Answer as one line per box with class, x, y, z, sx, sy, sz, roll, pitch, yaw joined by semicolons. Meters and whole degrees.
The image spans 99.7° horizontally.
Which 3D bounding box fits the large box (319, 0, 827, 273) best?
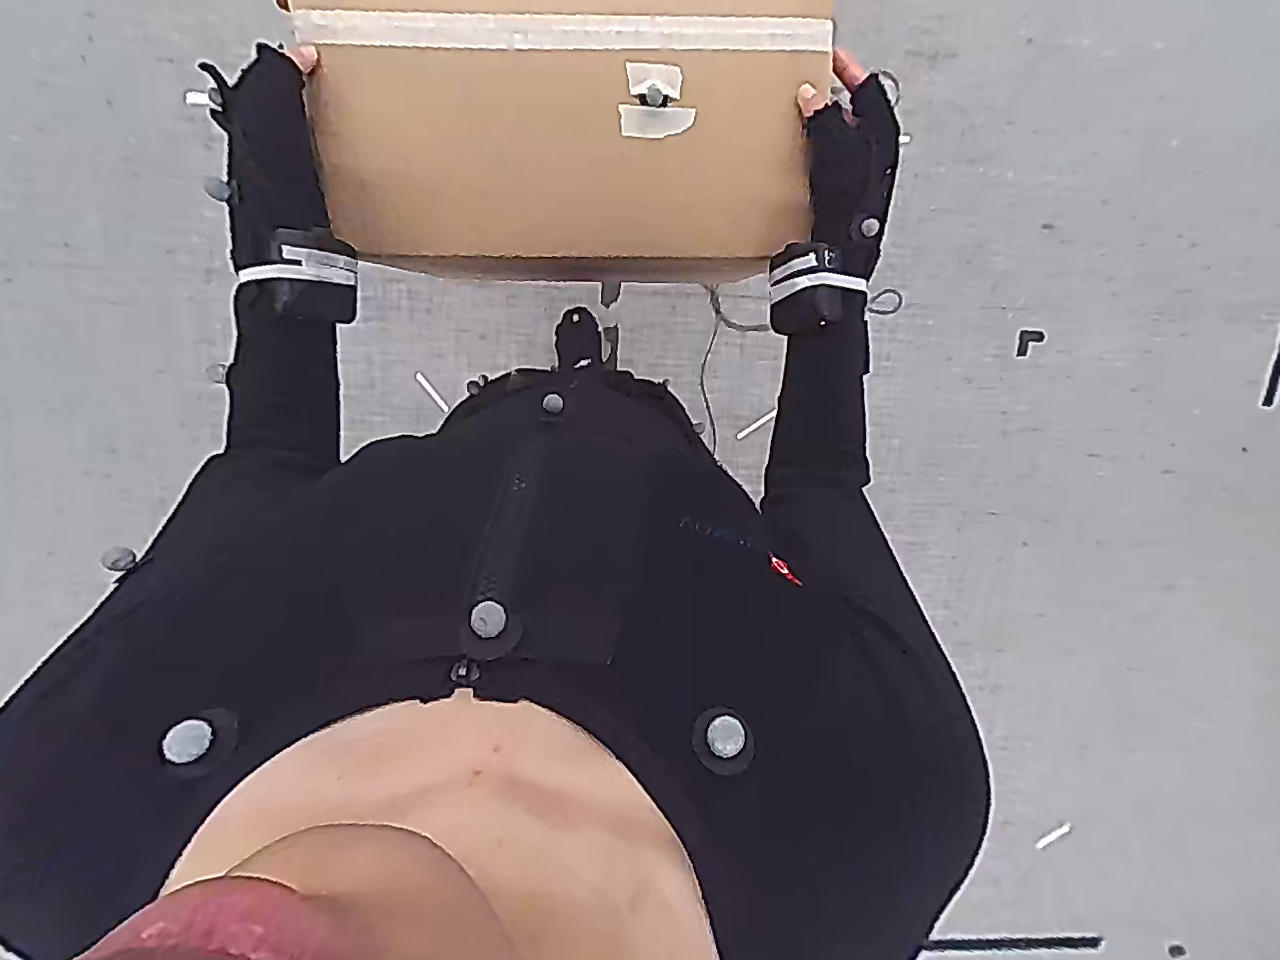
large box;-0.058;-0.397;0.570;0.408;0.320;0.320;-1;108;-3
